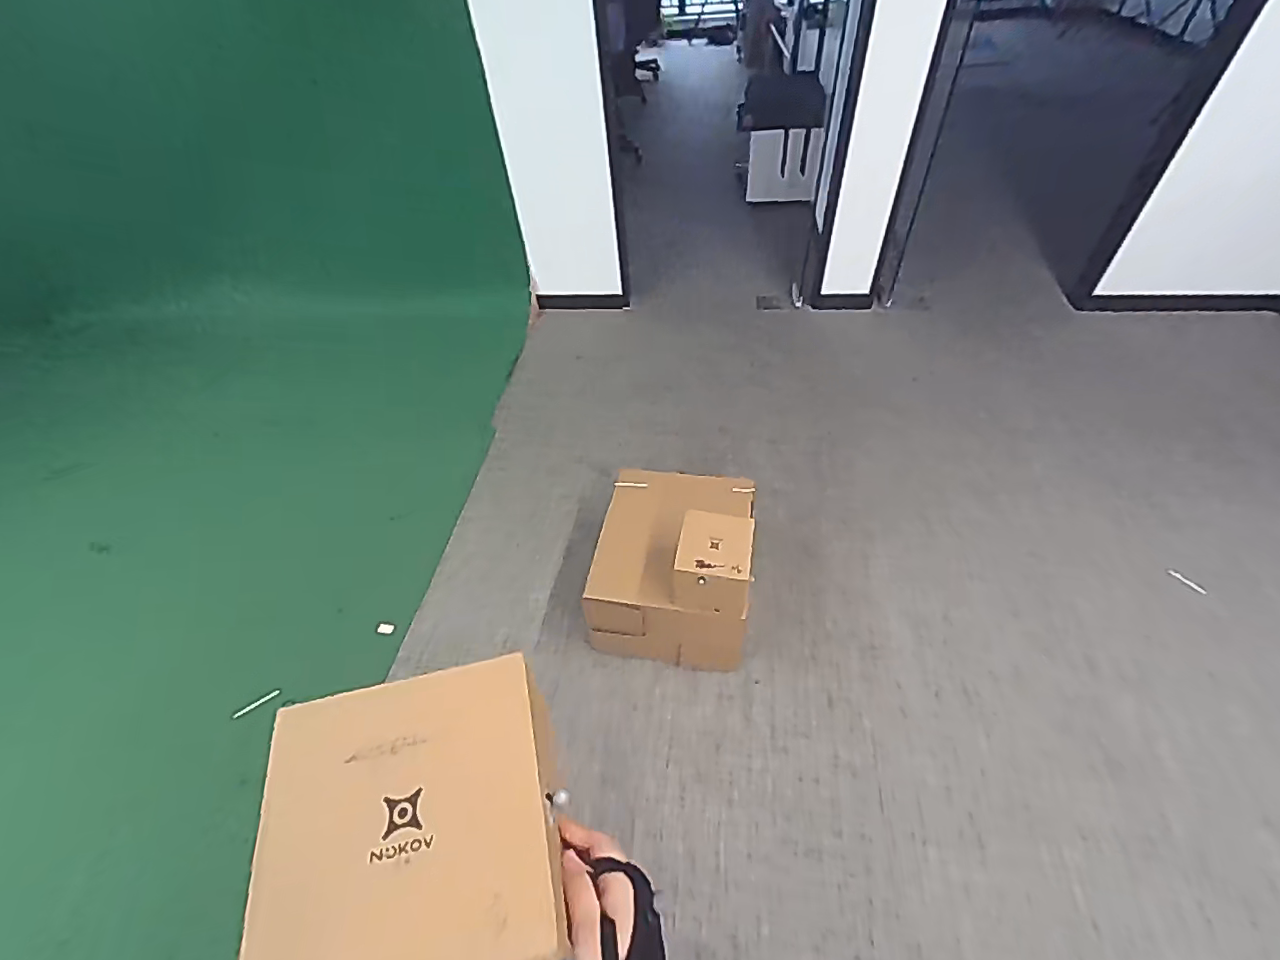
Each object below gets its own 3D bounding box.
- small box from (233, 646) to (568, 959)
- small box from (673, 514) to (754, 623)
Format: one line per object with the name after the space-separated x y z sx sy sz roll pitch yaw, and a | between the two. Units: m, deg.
-0.149 0.249 0.392 0.168 0.176 0.179 -10 52 -10 | small box
0.171 0.209 1.281 0.168 0.176 0.179 7 47 11 | small box
